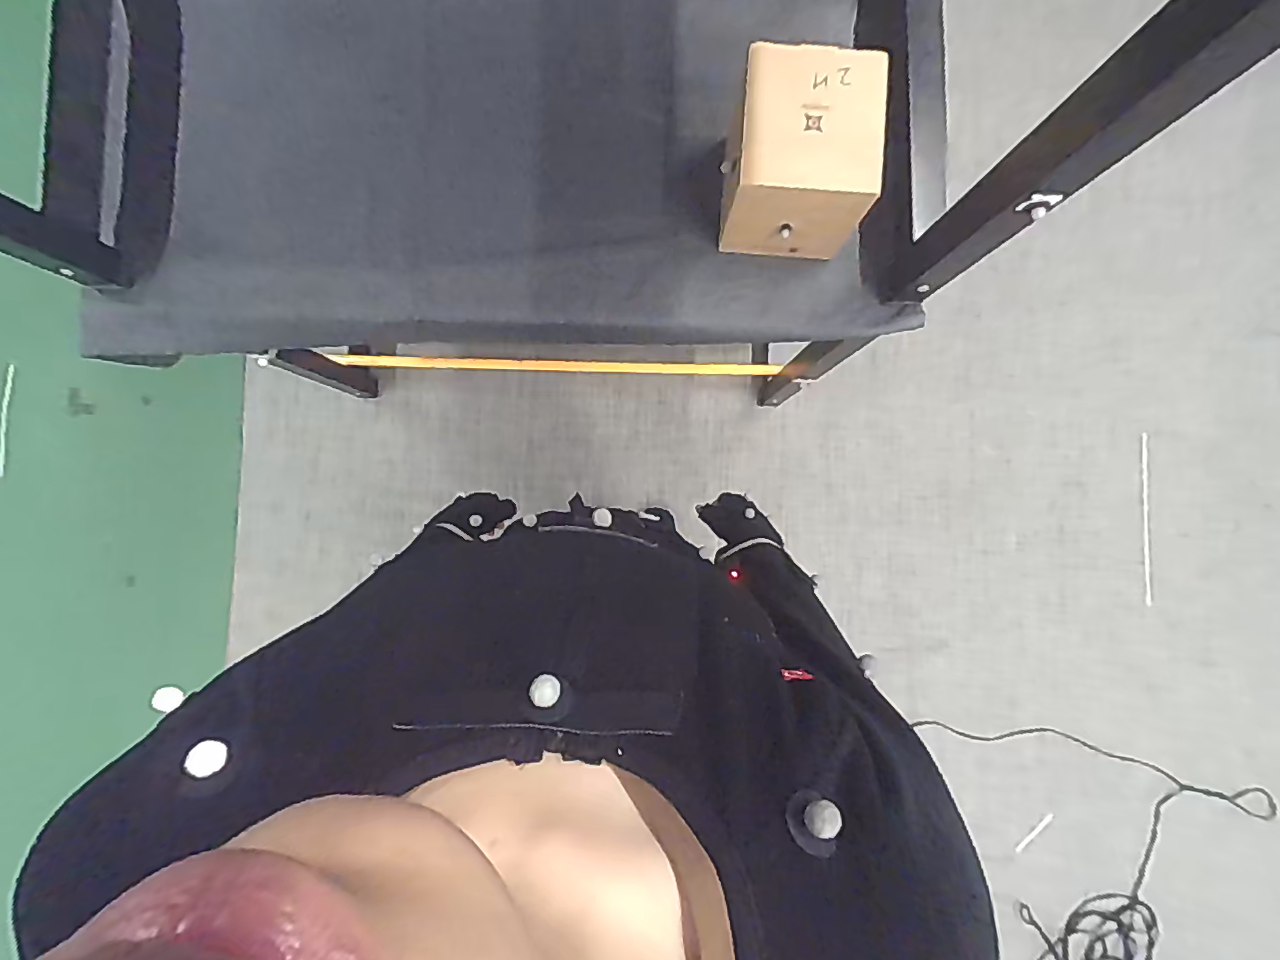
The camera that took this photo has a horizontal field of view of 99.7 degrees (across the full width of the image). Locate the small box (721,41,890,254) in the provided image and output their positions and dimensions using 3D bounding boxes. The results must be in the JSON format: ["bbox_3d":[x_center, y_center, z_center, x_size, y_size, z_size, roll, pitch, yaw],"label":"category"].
[{"bbox_3d":[0.204,-0.419,0.709,0.168,0.176,0.179,5,87,-1],"label":"small box"}]
